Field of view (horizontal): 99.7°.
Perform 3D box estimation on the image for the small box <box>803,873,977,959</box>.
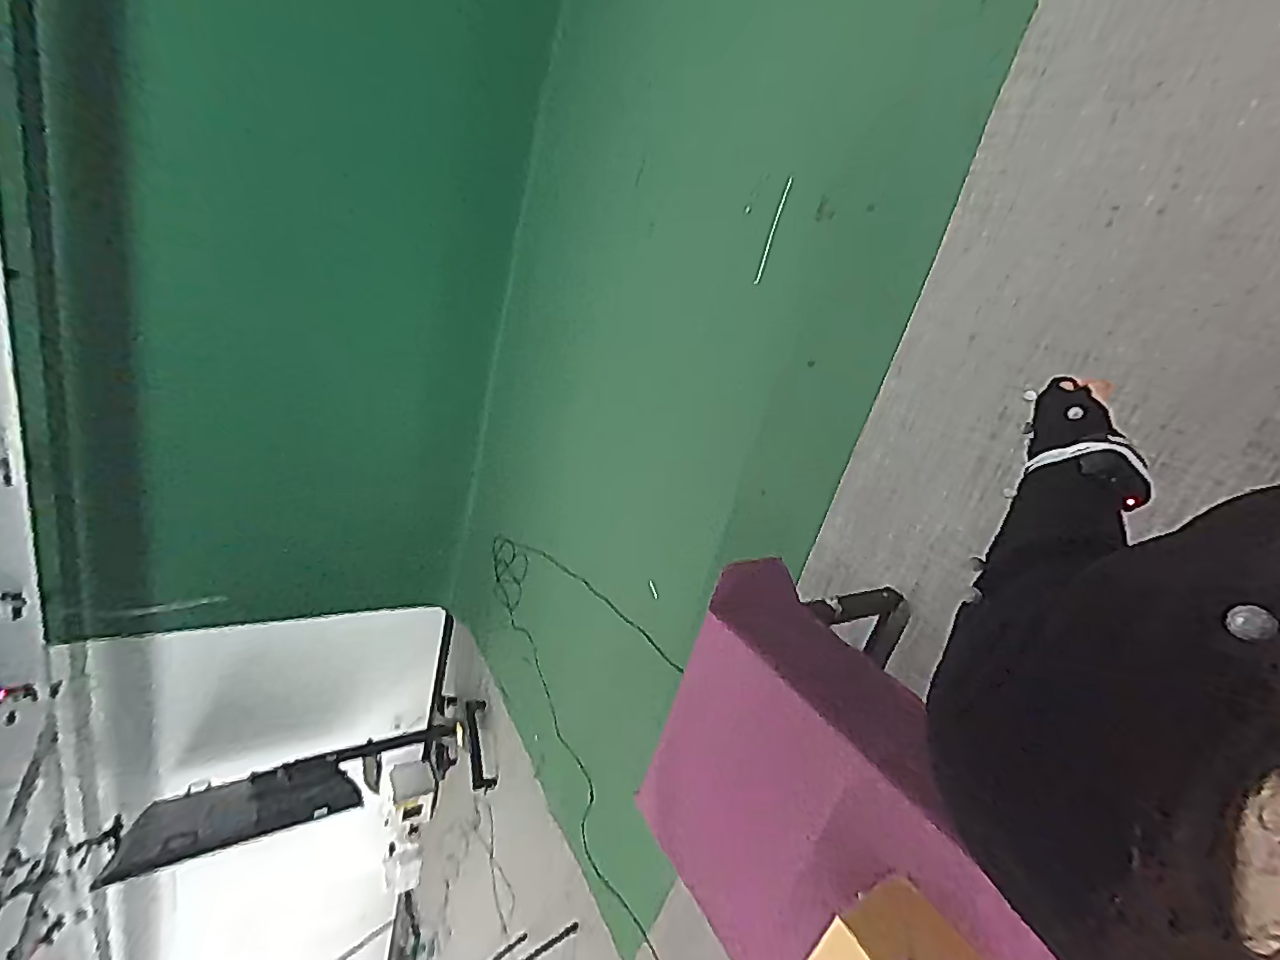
[{"bbox_3d":[0.351,0.701,0.747,0.179,0.176,0.168,42,121,48],"label":"small box"}]
